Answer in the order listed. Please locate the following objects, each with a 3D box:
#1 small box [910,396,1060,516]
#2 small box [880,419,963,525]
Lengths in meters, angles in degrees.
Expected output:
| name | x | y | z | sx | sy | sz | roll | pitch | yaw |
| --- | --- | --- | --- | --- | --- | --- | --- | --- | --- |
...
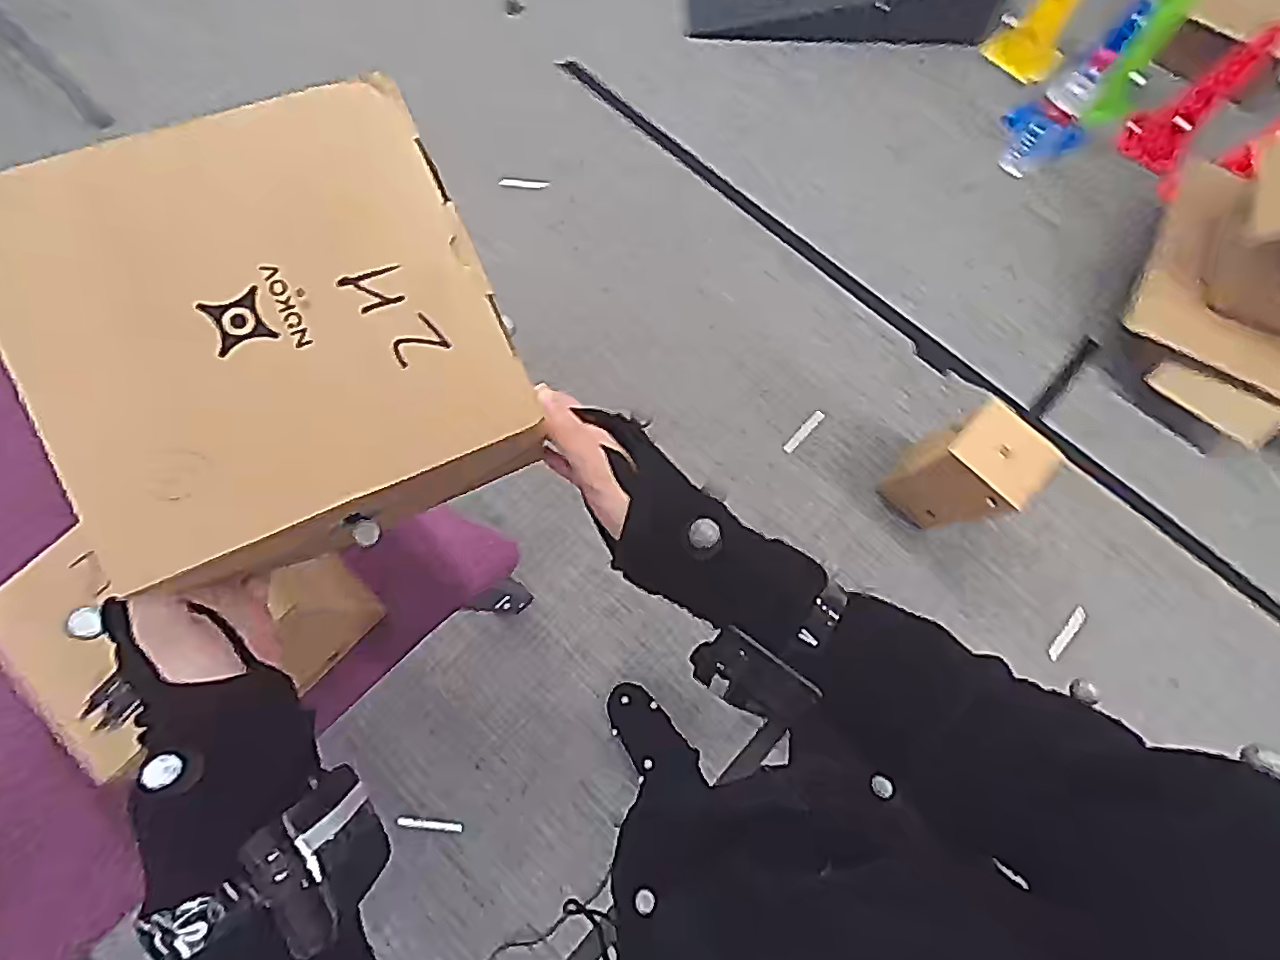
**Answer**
| name | x | y | z | sx | sy | sz | roll | pitch | yaw |
| --- | --- | --- | --- | --- | --- | --- | --- | --- | --- |
| small box | 0.725 | -0.042 | 1.160 | 0.179 | 0.176 | 0.168 | 43 | 78 | 6 |
| small box | 0.721 | -0.011 | 1.320 | 0.168 | 0.176 | 0.179 | 42 | 77 | 6 |
